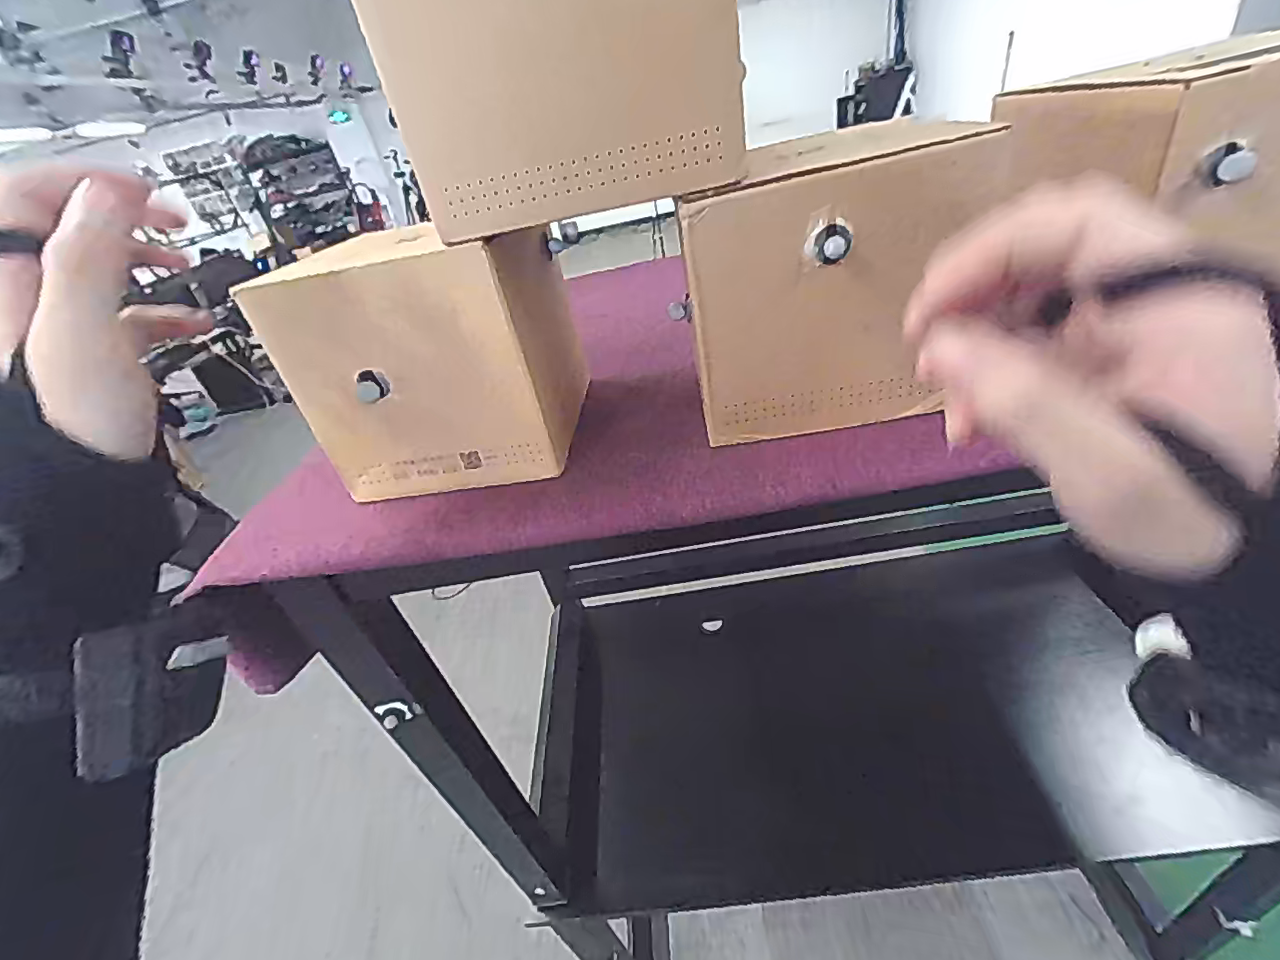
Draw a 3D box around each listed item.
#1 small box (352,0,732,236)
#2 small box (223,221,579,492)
[{"bbox_3d":[-0.052,-0.256,0.318,0.179,0.176,0.168,-10,34,4],"label":"small box"},{"bbox_3d":[-0.154,-0.102,0.426,0.168,0.176,0.179,-7,33,8],"label":"small box"}]
